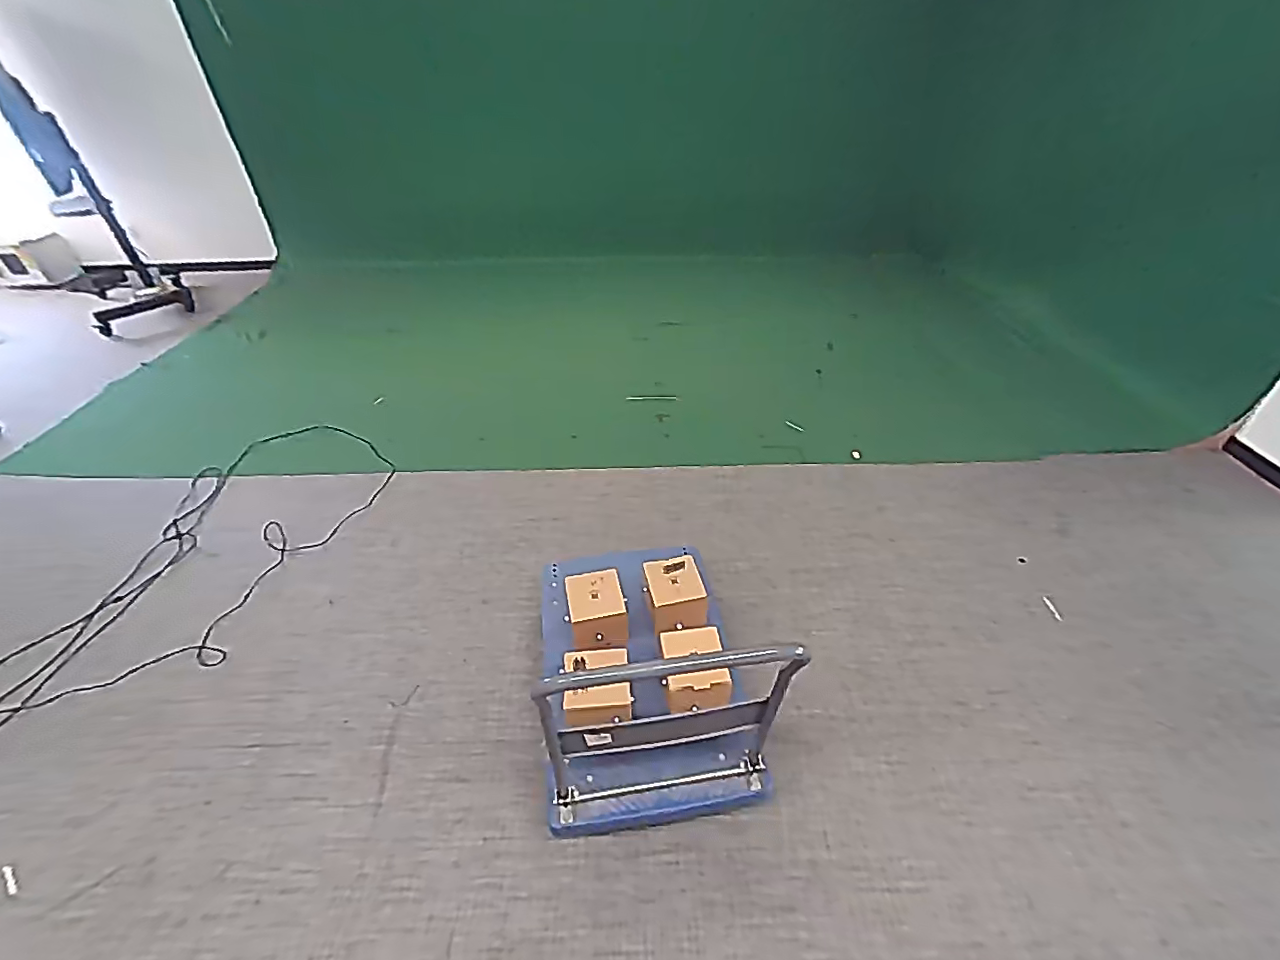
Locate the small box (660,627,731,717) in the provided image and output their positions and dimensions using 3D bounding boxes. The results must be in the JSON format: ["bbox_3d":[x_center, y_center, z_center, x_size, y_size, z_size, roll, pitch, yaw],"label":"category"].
[{"bbox_3d":[0.152,0.549,1.549,0.168,0.176,0.179,-6,41,-6],"label":"small box"}]

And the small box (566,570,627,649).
[{"bbox_3d":[-0.136,0.415,1.712,0.168,0.176,0.179,-8,41,-10],"label":"small box"}]

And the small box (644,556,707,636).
[{"bbox_3d":[0.109,0.376,1.752,0.168,0.176,0.179,-9,42,-8],"label":"small box"}]
